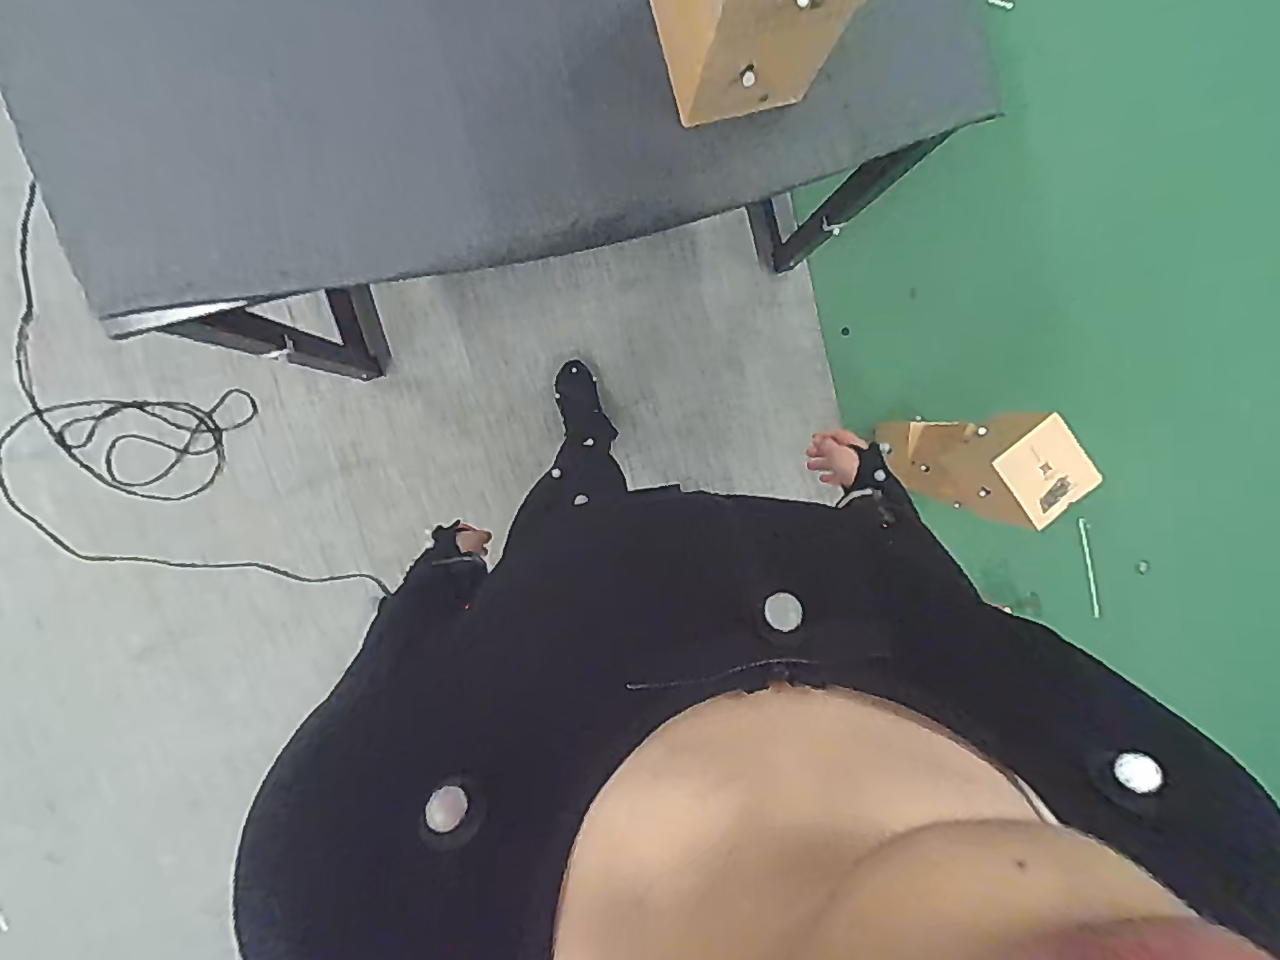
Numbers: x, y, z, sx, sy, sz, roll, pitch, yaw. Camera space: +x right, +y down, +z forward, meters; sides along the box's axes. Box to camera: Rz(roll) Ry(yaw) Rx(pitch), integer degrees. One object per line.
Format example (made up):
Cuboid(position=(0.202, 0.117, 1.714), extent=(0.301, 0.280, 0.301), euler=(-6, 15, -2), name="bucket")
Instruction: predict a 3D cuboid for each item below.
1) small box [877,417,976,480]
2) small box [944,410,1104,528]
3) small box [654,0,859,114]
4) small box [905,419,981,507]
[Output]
Cuboid(position=(0.758, -0.082, 1.447), extent=(0.179, 0.176, 0.168), euler=(1, 95, -5), name="small box")
Cuboid(position=(0.787, -0.030, 1.125), extent=(0.168, 0.176, 0.179), euler=(-38, 96, 0), name="small box")
Cuboid(position=(0.119, -0.553, 0.612), extent=(0.168, 0.176, 0.179), euler=(-16, 95, -4), name="small box")
Cuboid(position=(0.775, -0.036, 1.289), extent=(0.179, 0.176, 0.168), euler=(21, 94, -7), name="small box")
